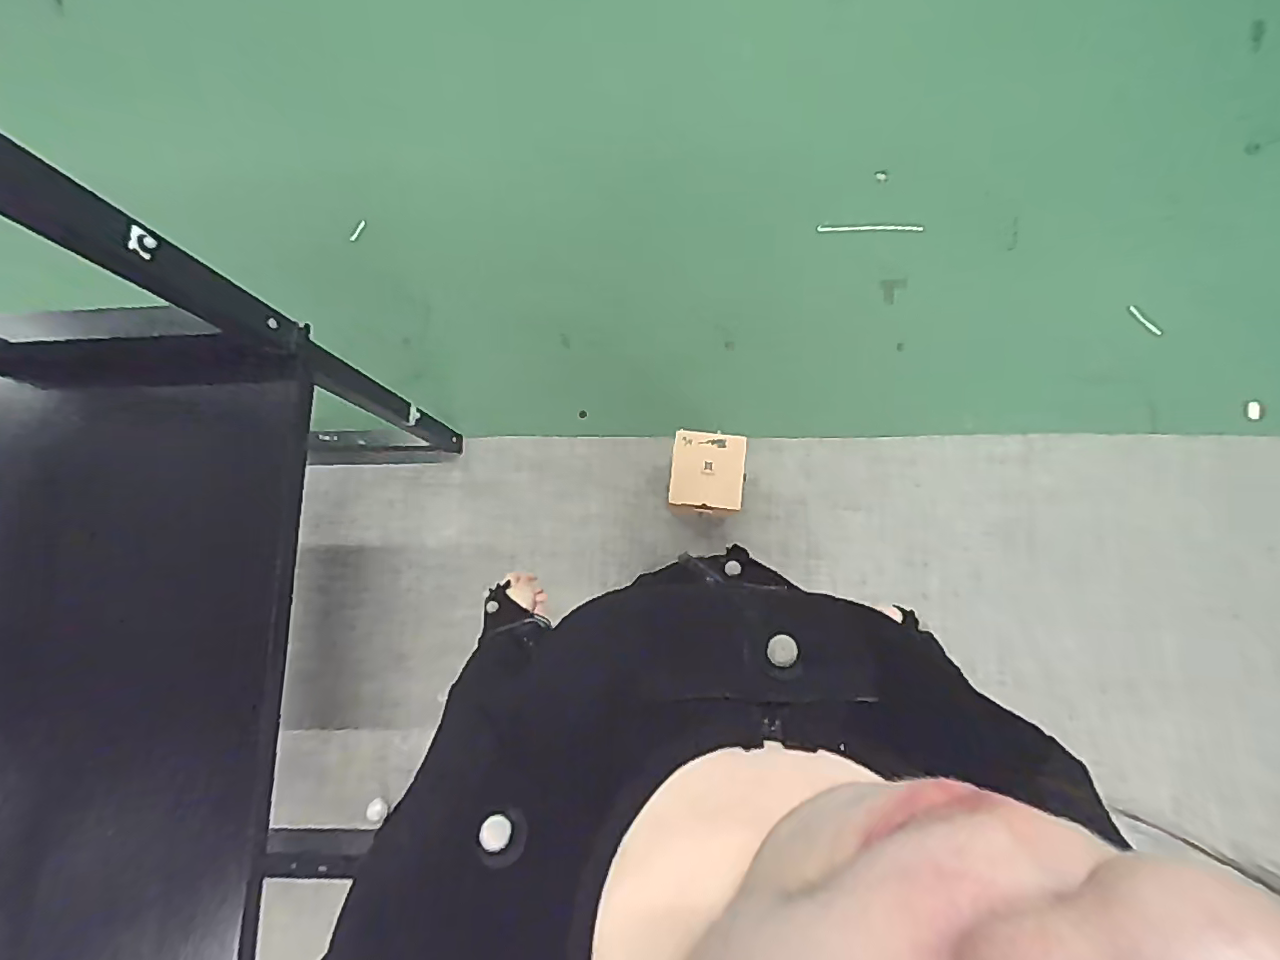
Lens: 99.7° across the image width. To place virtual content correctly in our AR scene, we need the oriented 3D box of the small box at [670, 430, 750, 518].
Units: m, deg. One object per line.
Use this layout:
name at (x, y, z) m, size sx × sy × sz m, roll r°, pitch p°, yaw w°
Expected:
small box at (0.165, -0.008, 1.291) m, size 0.168 × 0.176 × 0.179 m, roll 6°, pitch 81°, yaw 5°
